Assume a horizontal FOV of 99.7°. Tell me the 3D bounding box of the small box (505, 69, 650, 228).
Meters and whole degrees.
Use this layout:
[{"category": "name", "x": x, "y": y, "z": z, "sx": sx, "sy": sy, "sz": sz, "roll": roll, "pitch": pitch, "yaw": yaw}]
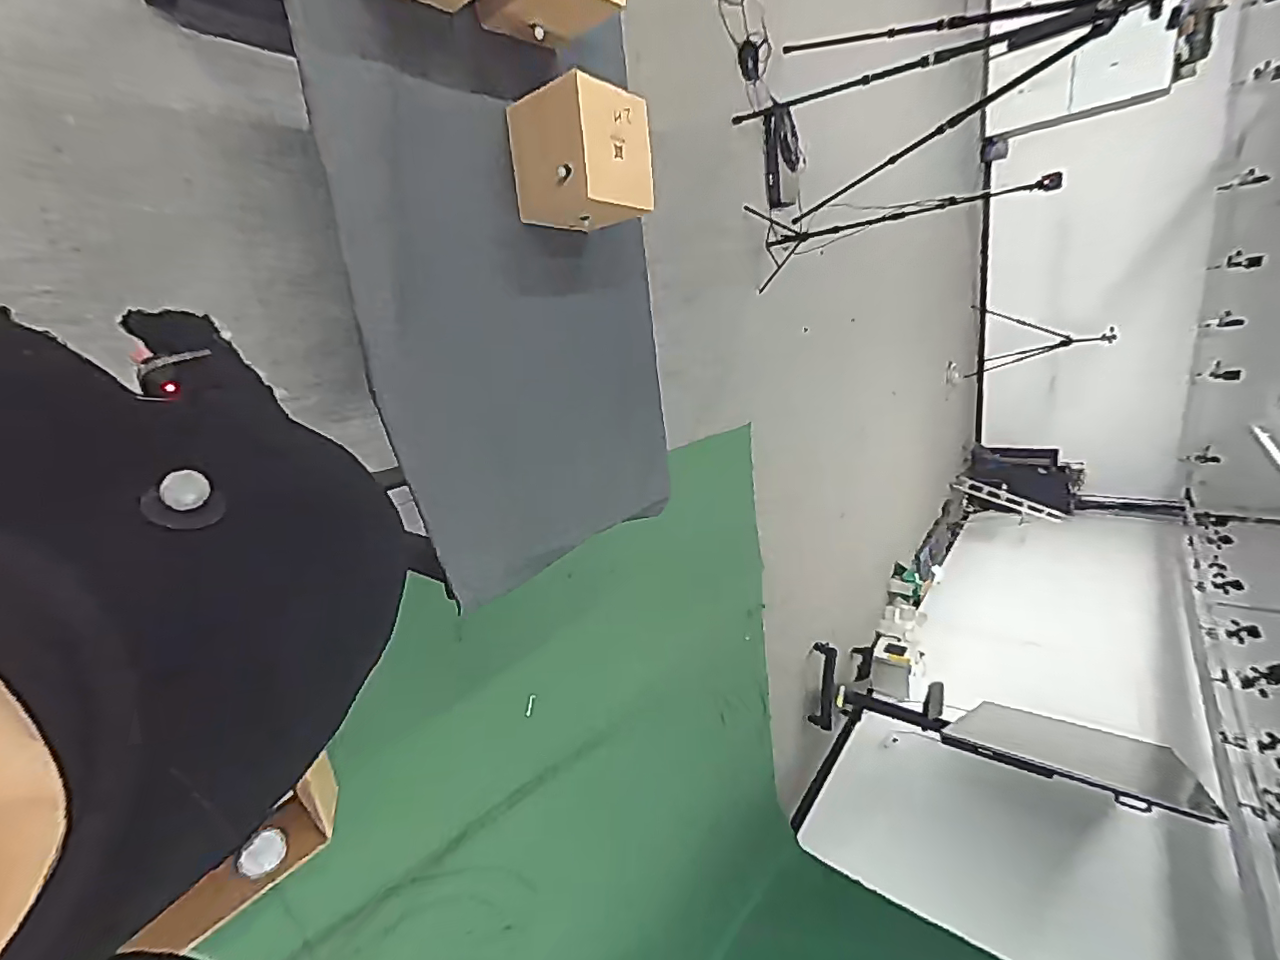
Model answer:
[{"category": "small box", "x": -0.104, "y": -0.534, "z": 0.906, "sx": 0.168, "sy": 0.176, "sz": 0.179, "roll": -21, "pitch": 111, "yaw": -48}]
